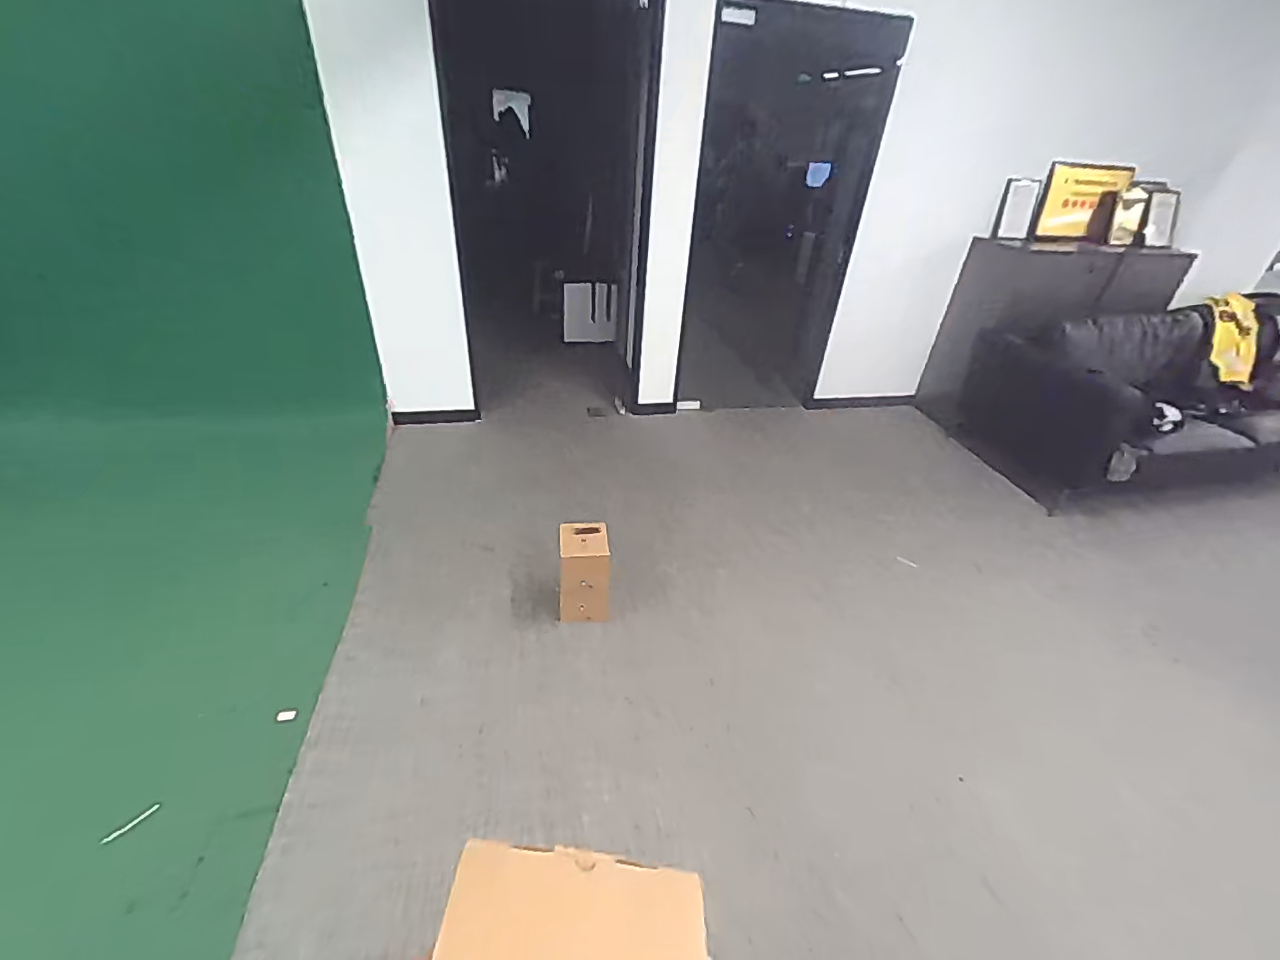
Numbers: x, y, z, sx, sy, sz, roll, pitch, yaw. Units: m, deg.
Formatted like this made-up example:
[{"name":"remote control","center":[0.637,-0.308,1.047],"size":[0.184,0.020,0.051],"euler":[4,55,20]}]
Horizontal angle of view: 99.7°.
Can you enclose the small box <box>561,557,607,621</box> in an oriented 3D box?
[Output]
[{"name":"small box","center":[-0.206,0.407,2.008],"size":[0.168,0.176,0.179],"euler":[1,34,-6]}]

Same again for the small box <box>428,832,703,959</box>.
[{"name":"small box","center":[-0.060,0.367,0.338],"size":[0.168,0.176,0.179],"euler":[13,28,-5]}]
